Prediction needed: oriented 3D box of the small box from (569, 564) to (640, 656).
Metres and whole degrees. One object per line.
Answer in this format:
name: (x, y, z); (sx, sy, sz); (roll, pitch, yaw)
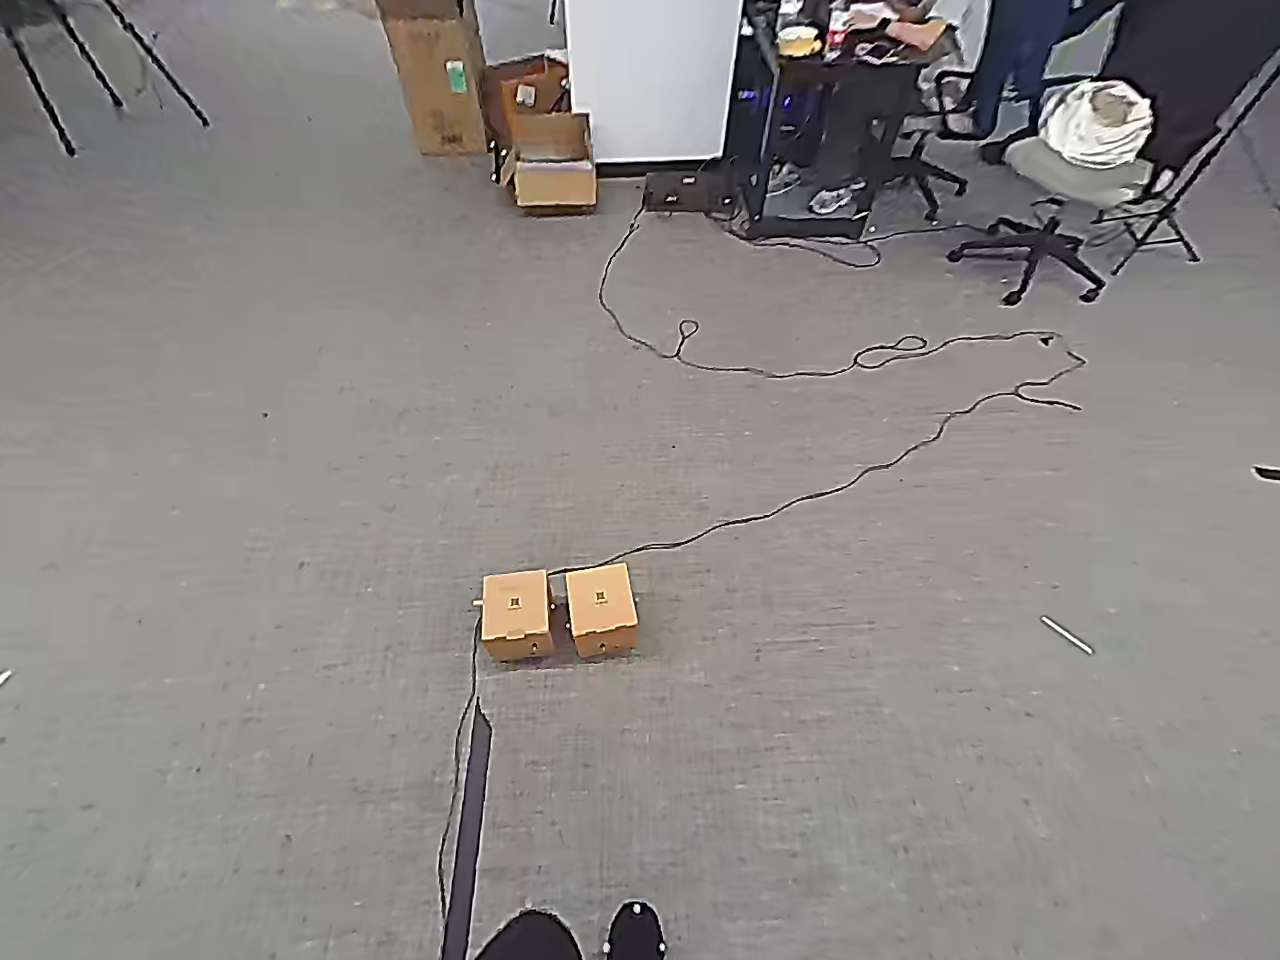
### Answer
small box: (-0.097, 0.352, 1.455); (0.168, 0.176, 0.179); (-8, 55, -7)

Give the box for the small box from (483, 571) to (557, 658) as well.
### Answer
small box: (-0.314, 0.364, 1.444); (0.168, 0.176, 0.179); (-5, 54, -5)
